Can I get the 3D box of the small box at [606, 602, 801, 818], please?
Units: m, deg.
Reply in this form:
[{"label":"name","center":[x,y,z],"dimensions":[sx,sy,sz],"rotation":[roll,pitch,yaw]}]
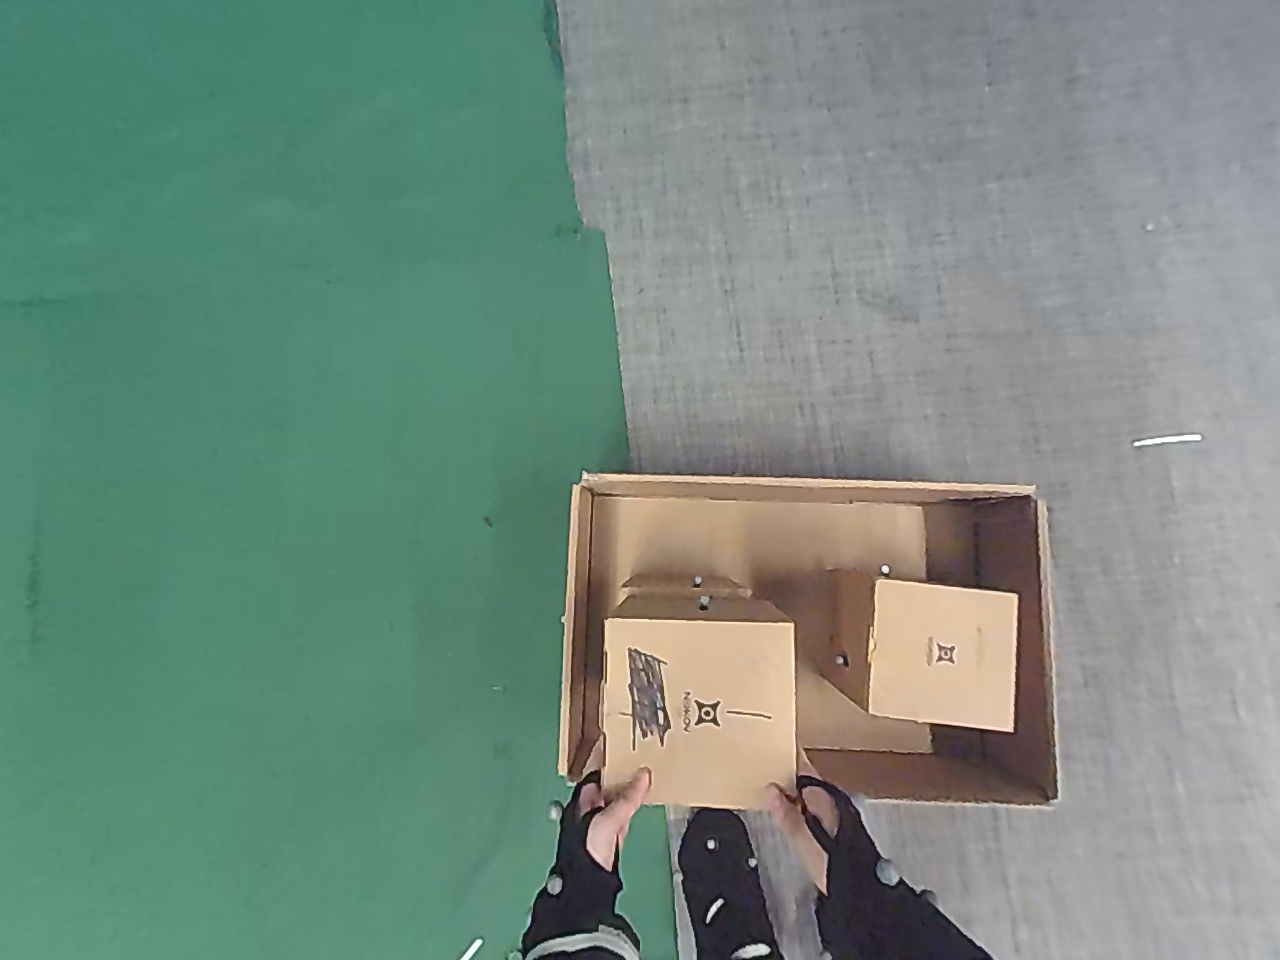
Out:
[{"label":"small box","center":[0.064,0.223,0.569],"dimensions":[0.179,0.176,0.168],"rotation":[1,84,4]}]
